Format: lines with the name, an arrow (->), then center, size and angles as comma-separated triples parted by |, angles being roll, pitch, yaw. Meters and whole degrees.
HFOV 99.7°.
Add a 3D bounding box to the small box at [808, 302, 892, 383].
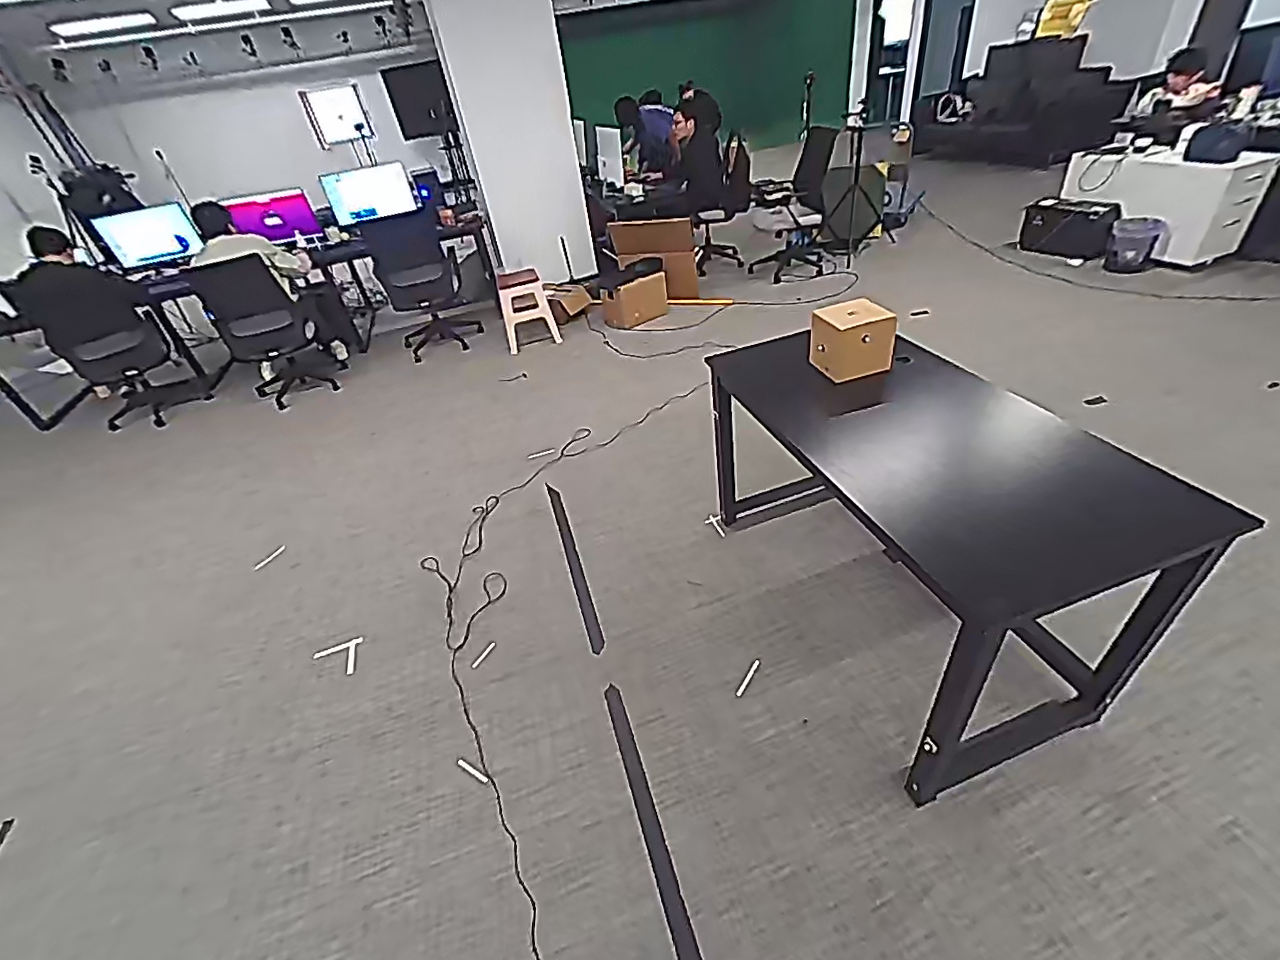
small box -> 0.618, -0.406, 1.609 | 0.179, 0.176, 0.168 | -16, 37, -7
